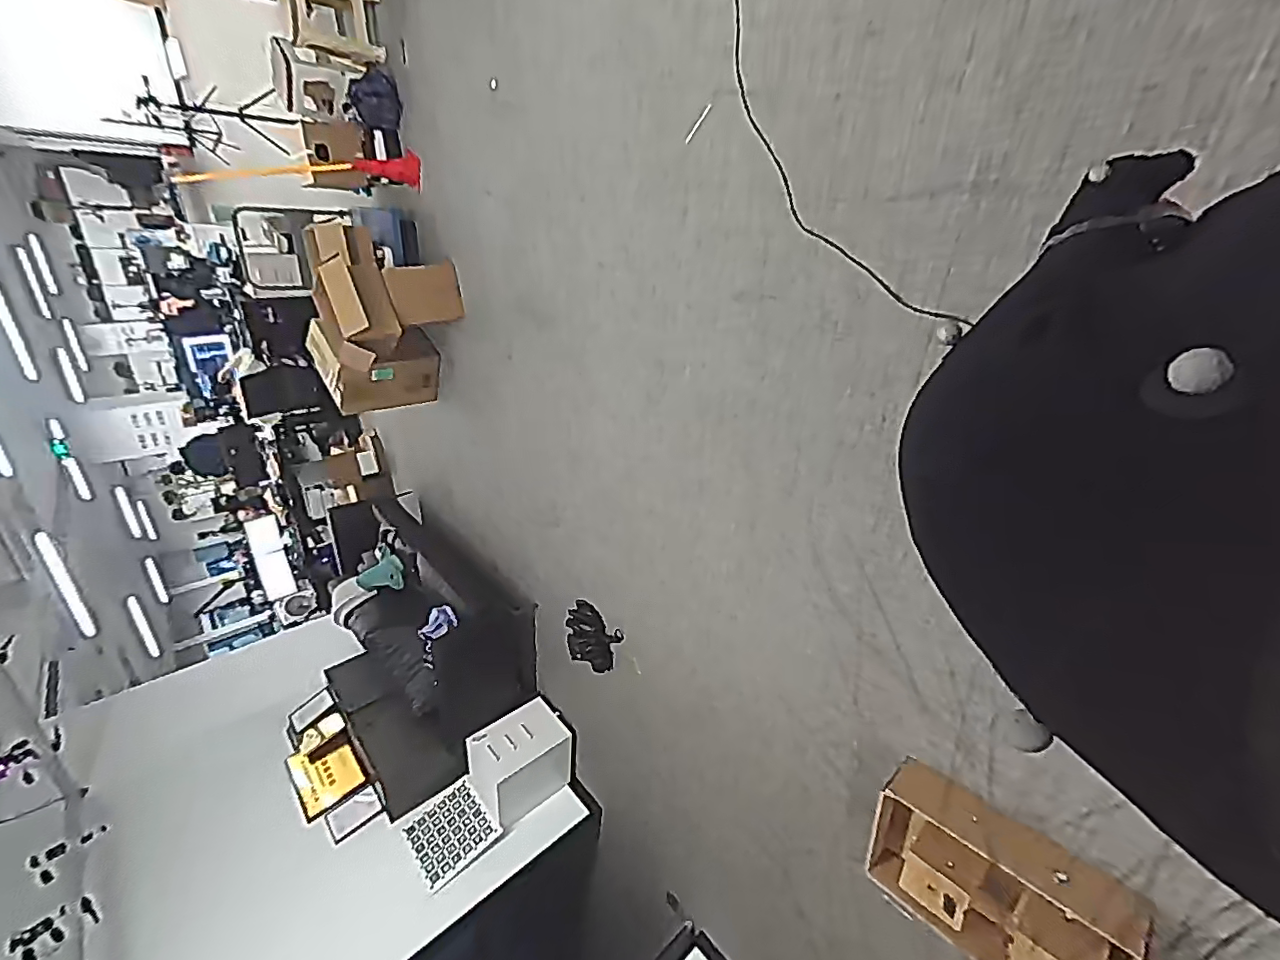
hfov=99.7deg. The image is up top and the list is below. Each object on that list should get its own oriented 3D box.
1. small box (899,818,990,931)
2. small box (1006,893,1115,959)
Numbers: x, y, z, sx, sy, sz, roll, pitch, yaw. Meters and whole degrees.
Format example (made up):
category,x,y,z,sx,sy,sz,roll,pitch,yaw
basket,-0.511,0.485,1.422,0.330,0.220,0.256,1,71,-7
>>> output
category,x,y,z,sx,sy,sz,roll,pitch,yaw
small box,0.910,1.164,1.611,0.179,0.176,0.168,23,122,42
small box,1.099,1.237,1.416,0.179,0.176,0.168,19,120,47
